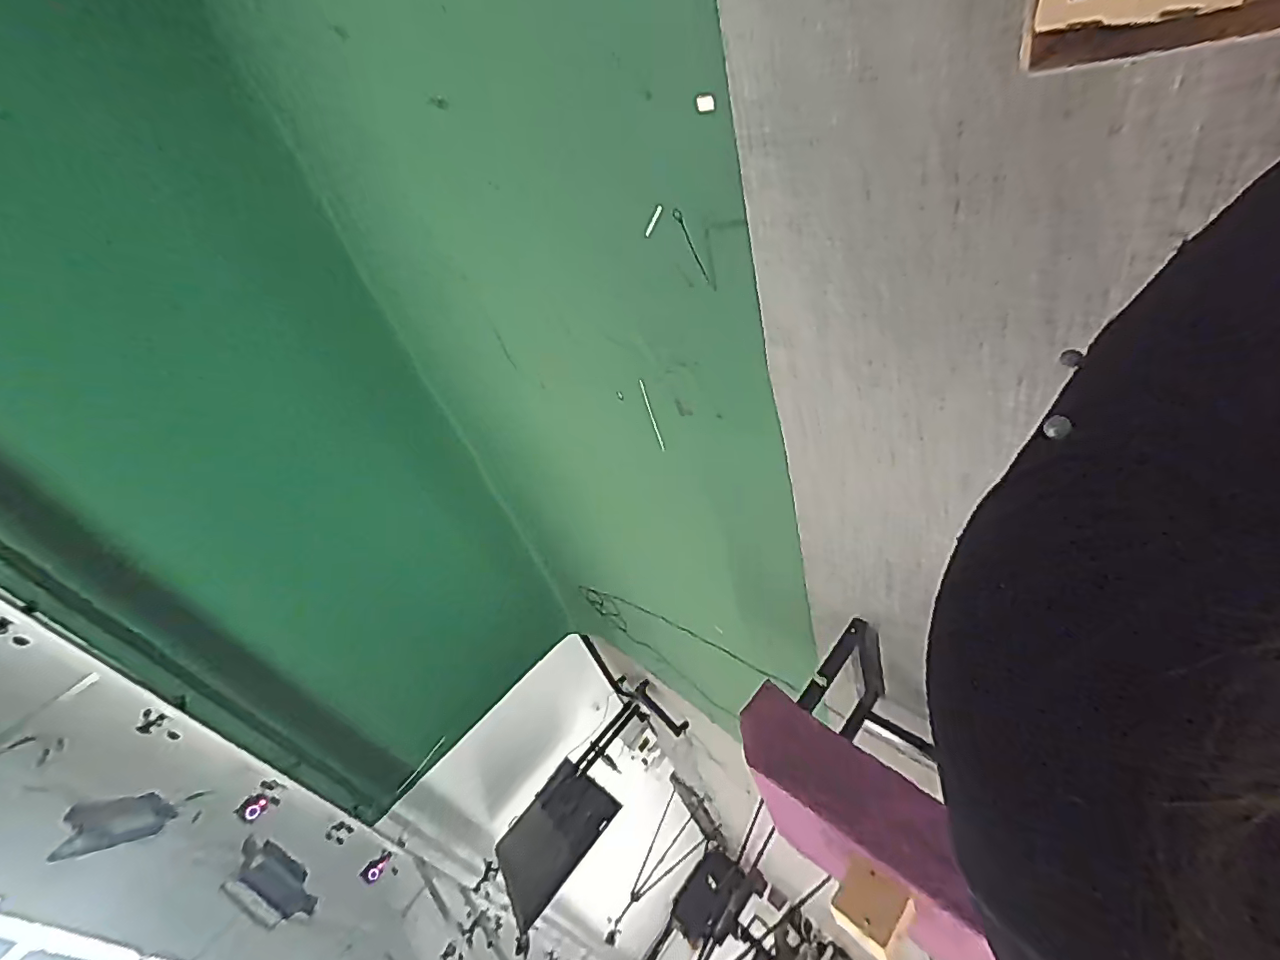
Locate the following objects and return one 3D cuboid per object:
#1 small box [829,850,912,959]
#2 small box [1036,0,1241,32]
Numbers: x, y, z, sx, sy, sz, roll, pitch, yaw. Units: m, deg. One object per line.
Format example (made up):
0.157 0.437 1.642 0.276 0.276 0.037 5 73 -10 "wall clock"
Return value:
0.683 1.243 1.590 0.168 0.176 0.179 18 142 44 "small box"
0.521 -0.564 0.514 0.168 0.176 0.179 26 146 37 "small box"
